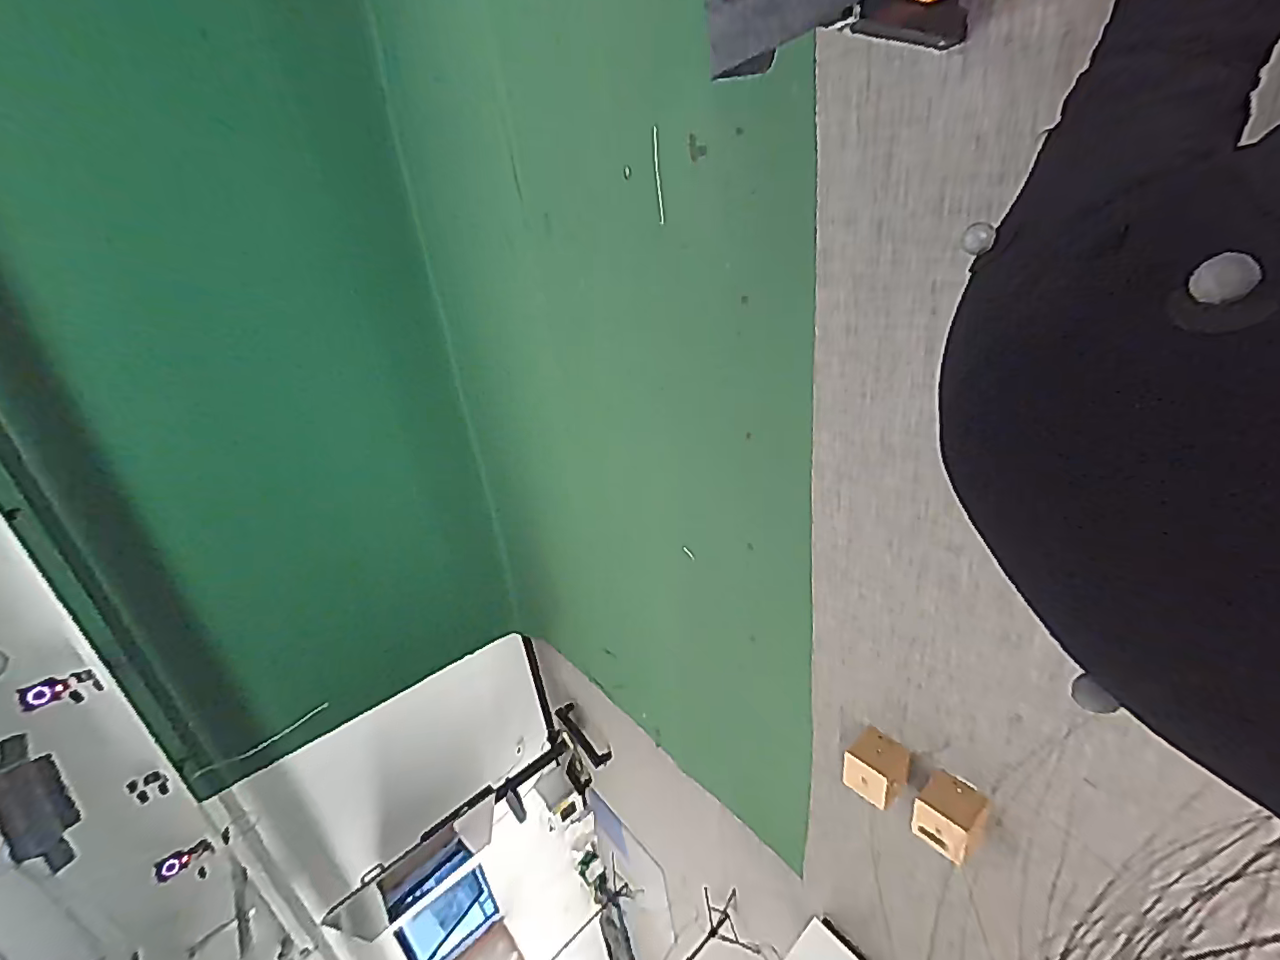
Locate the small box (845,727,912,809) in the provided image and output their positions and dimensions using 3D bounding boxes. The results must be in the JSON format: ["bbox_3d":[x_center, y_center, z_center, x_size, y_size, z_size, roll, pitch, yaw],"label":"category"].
[{"bbox_3d":[0.893,1.068,2.022,0.168,0.176,0.179,23,127,48],"label":"small box"}]
